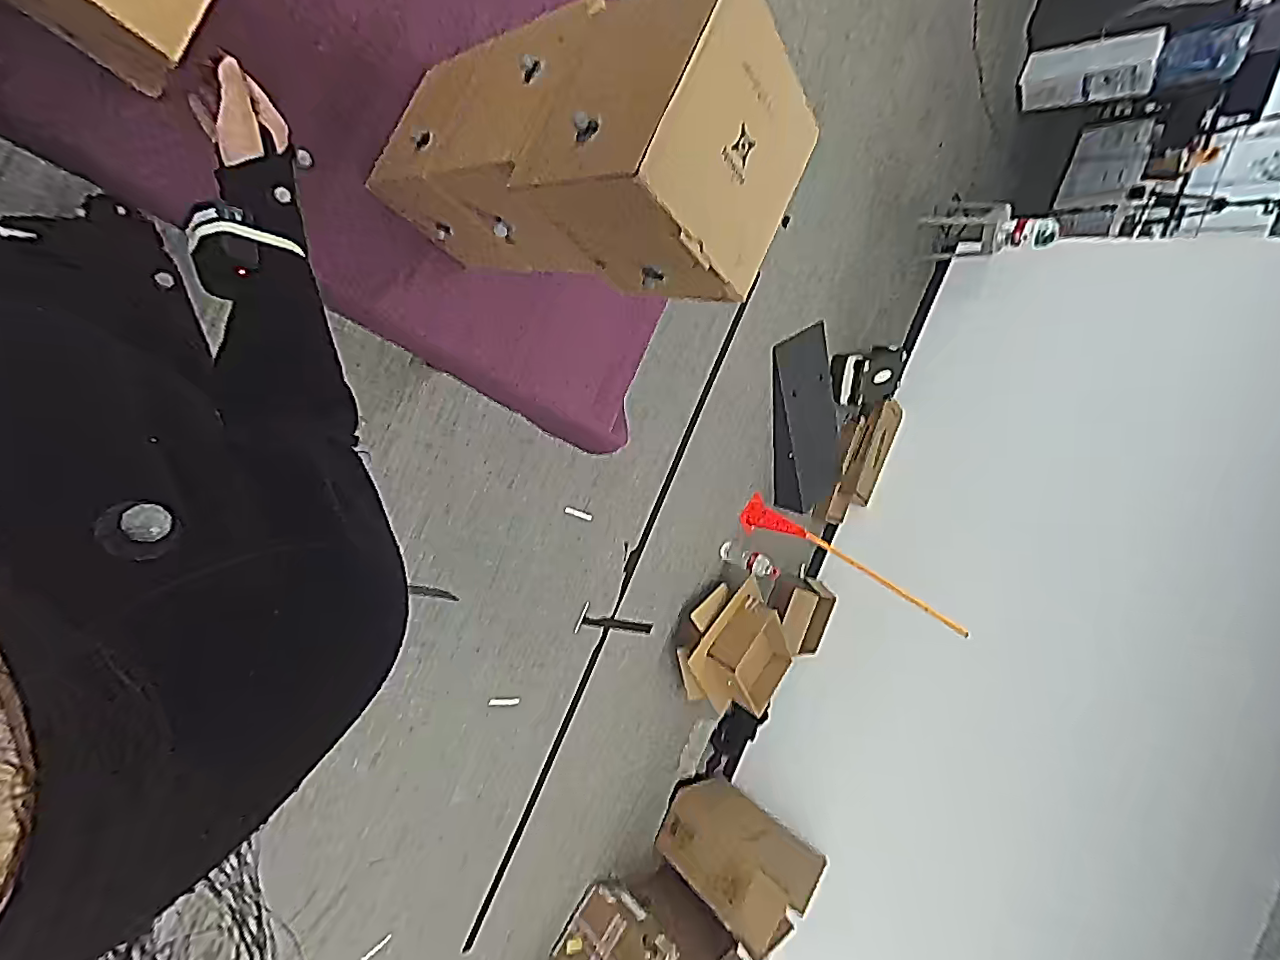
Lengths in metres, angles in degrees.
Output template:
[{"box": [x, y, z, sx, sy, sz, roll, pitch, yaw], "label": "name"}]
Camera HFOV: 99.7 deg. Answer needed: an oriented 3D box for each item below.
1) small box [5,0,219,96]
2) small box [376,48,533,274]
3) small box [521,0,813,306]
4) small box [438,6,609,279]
[{"box": [-0.431, -0.447, 0.422, 0.168, 0.176, 0.179, 28, 84, -50], "label": "small box"}, {"box": [-0.206, -0.388, 0.692, 0.168, 0.176, 0.179, 31, 82, -50], "label": "small box"}, {"box": [0.021, -0.279, 0.483, 0.168, 0.176, 0.179, 26, 86, -50], "label": "small box"}, {"box": [-0.087, -0.345, 0.588, 0.168, 0.176, 0.179, 31, 84, -49], "label": "small box"}]
